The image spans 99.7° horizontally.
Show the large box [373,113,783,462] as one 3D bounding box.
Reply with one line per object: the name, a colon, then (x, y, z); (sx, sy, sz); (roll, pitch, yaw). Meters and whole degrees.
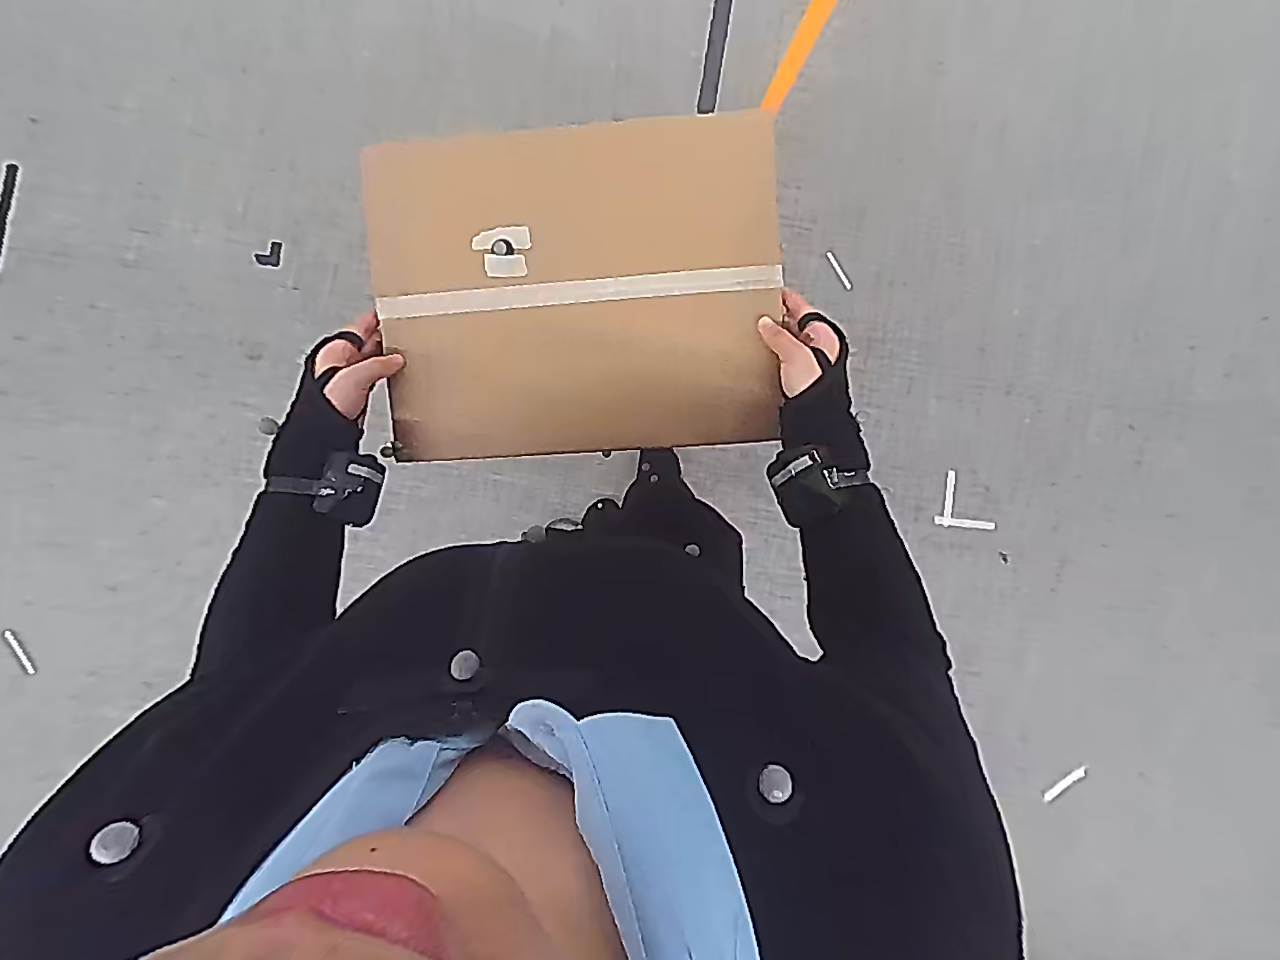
large box: (-0.053, -0.205, 0.699); (0.408, 0.320, 0.320); (-4, 95, 4)
